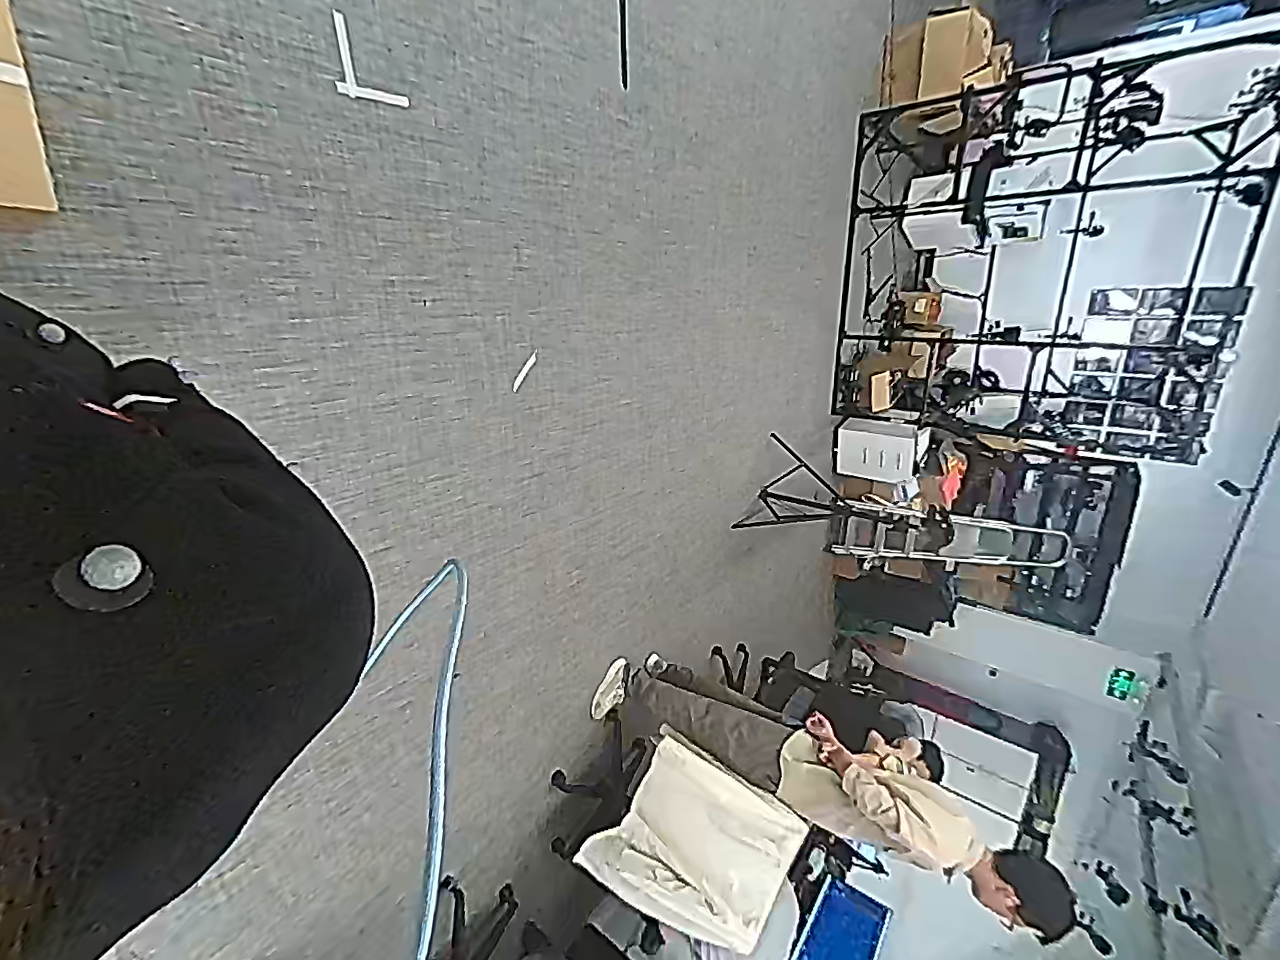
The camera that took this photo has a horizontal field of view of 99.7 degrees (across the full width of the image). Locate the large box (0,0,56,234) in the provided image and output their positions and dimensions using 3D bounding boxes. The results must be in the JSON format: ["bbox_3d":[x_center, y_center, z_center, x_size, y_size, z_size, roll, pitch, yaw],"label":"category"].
[{"bbox_3d":[-1.029,-0.490,0.629,0.408,0.320,0.320,-18,115,-50],"label":"large box"}]
